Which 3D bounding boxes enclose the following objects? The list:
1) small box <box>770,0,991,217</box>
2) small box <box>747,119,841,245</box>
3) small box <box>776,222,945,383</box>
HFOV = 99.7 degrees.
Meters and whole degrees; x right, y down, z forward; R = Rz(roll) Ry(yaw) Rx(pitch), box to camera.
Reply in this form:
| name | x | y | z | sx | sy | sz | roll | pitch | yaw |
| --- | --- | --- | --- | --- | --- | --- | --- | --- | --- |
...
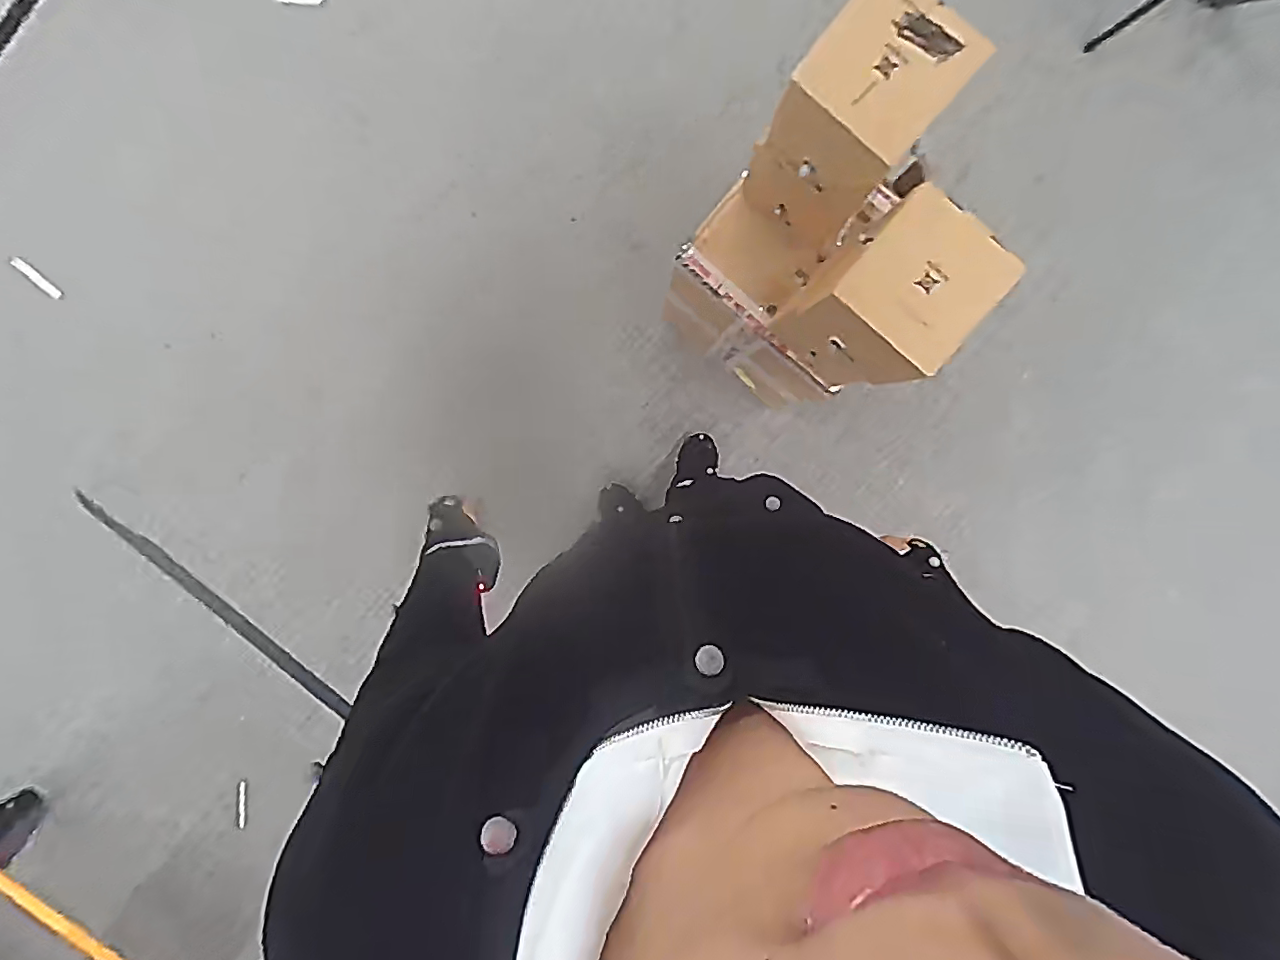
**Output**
| name | x | y | z | sx | sy | sz | roll | pitch | yaw |
| --- | --- | --- | --- | --- | --- | --- | --- | --- | --- |
| small box | 0.293 | -0.491 | 0.708 | 0.168 | 0.176 | 0.179 | 41 | 96 | -1 |
| small box | 0.292 | -0.520 | 0.871 | 0.168 | 0.176 | 0.179 | 37 | 96 | -1 |
| small box | 0.346 | -0.277 | 0.895 | 0.168 | 0.176 | 0.179 | 40 | 95 | -4 |
